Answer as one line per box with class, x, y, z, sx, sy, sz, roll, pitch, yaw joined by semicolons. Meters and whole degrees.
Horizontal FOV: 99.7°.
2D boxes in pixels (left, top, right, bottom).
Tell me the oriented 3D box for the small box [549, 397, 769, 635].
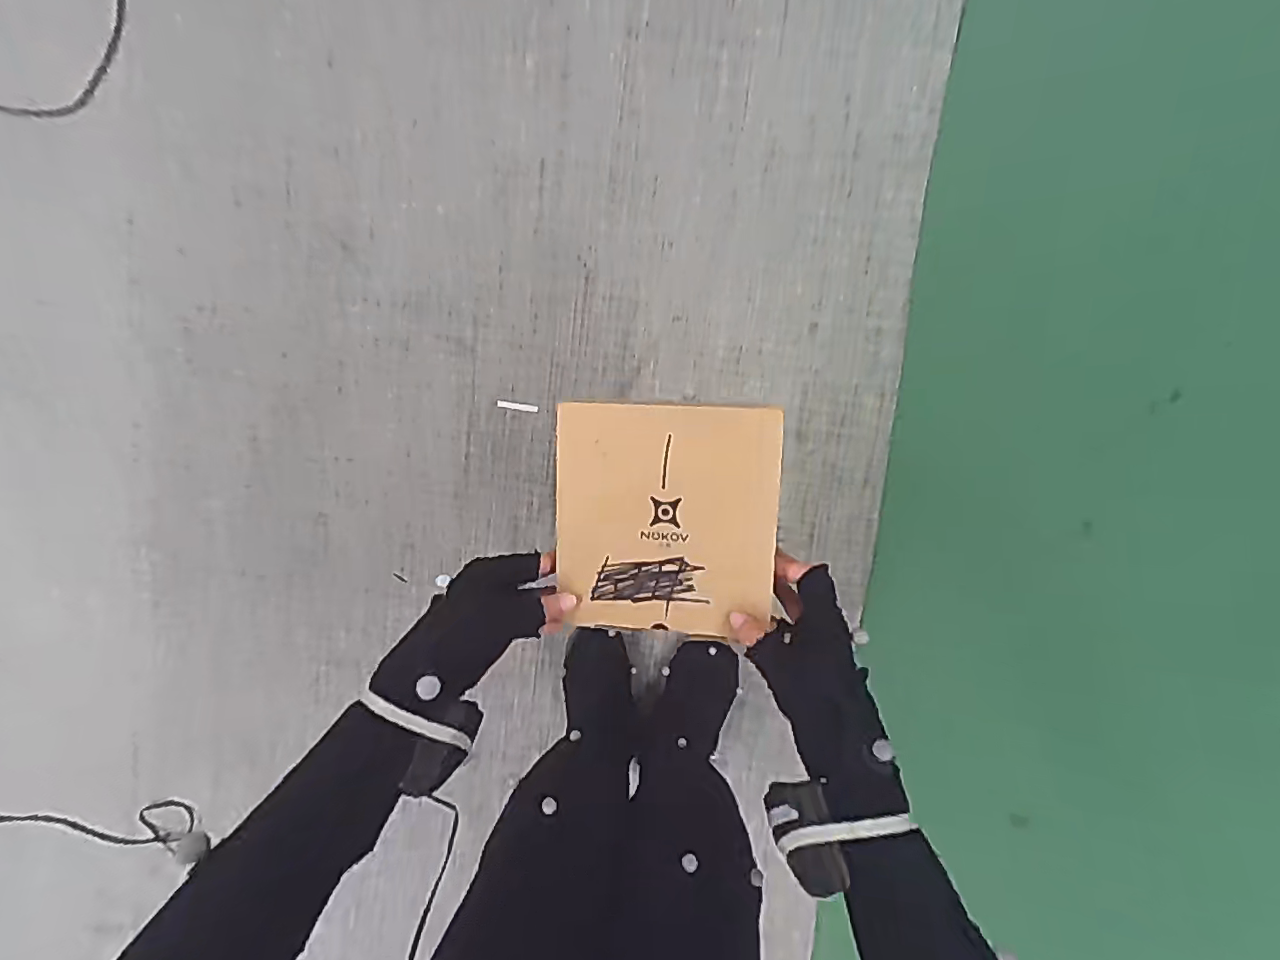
small box;0.023;0.017;0.489;0.168;0.176;0.179;3;98;9
